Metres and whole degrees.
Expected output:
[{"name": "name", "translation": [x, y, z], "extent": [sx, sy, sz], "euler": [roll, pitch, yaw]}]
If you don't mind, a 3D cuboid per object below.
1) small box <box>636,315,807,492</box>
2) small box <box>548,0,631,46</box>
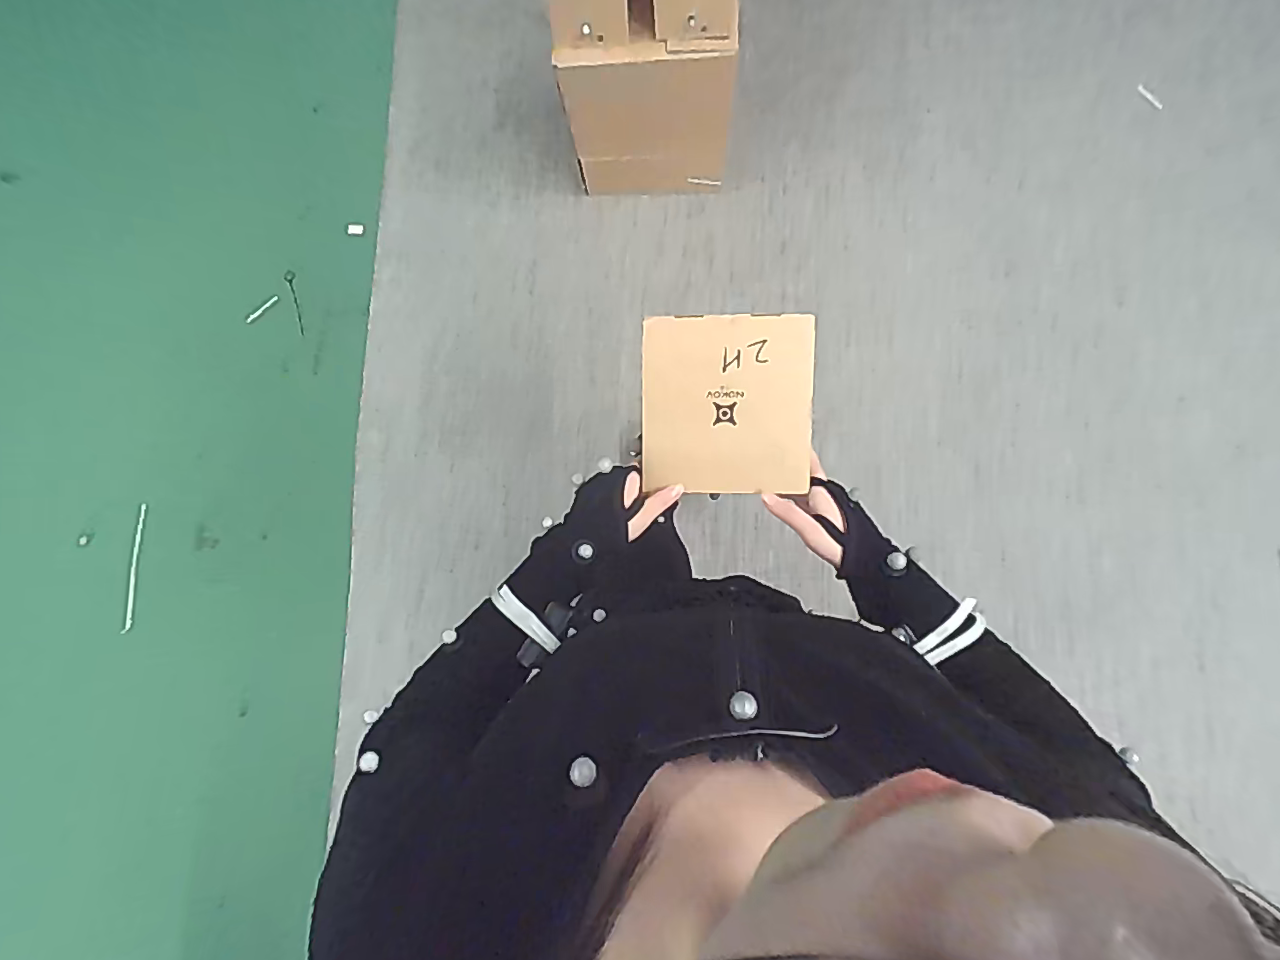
[{"name": "small box", "translation": [0.088, -0.084, 0.619], "extent": [0.168, 0.176, 0.179], "euler": [1, 95, 5]}, {"name": "small box", "translation": [-0.106, -1.049, 1.113], "extent": [0.168, 0.176, 0.179], "euler": [1, 86, 2]}]
